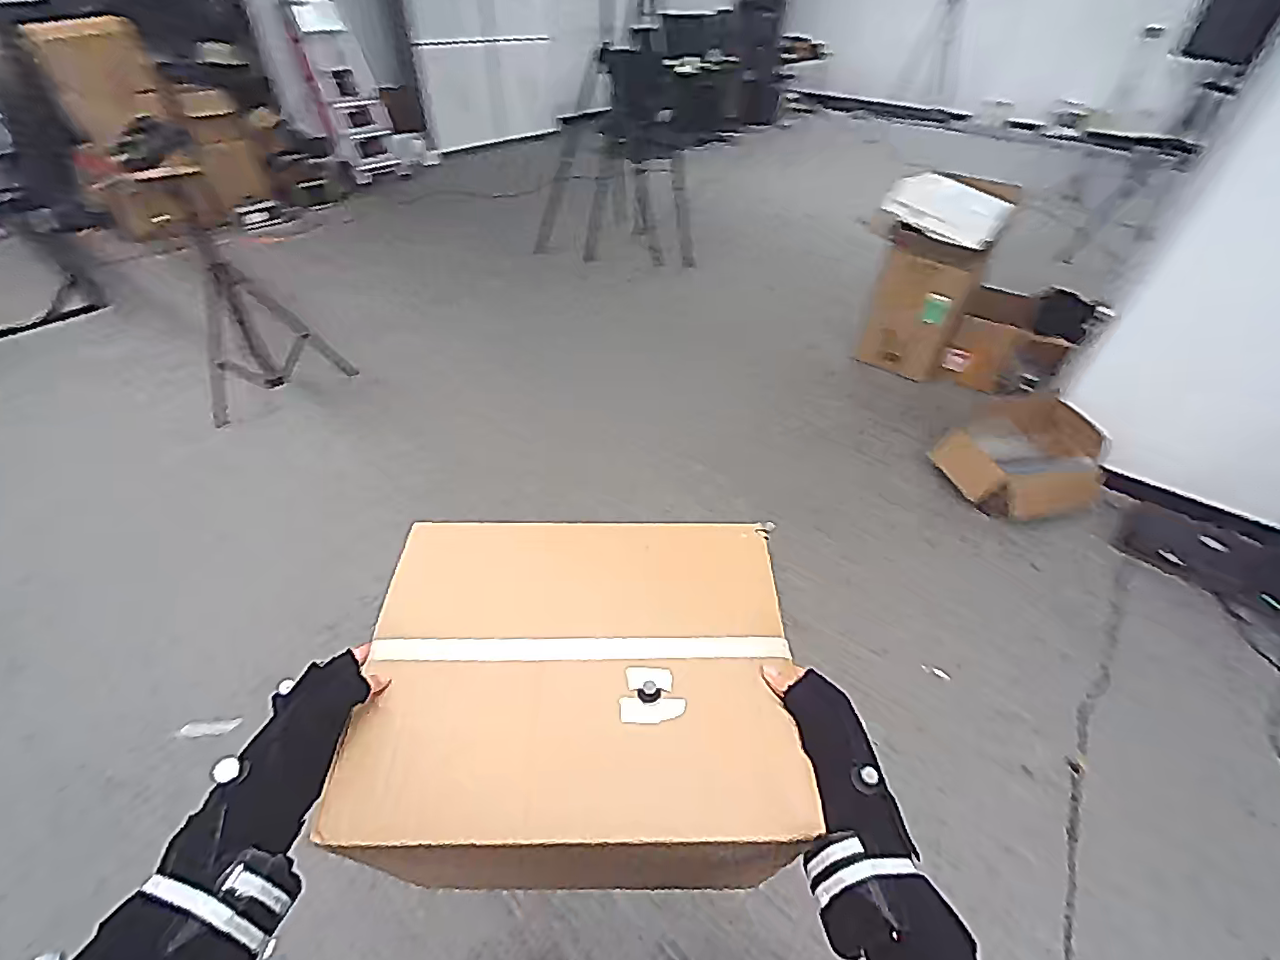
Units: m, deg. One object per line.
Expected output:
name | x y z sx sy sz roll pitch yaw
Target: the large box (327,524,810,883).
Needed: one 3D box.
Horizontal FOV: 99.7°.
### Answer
large box | -0.064 0.267 0.648 0.408 0.320 0.320 0 48 -2
